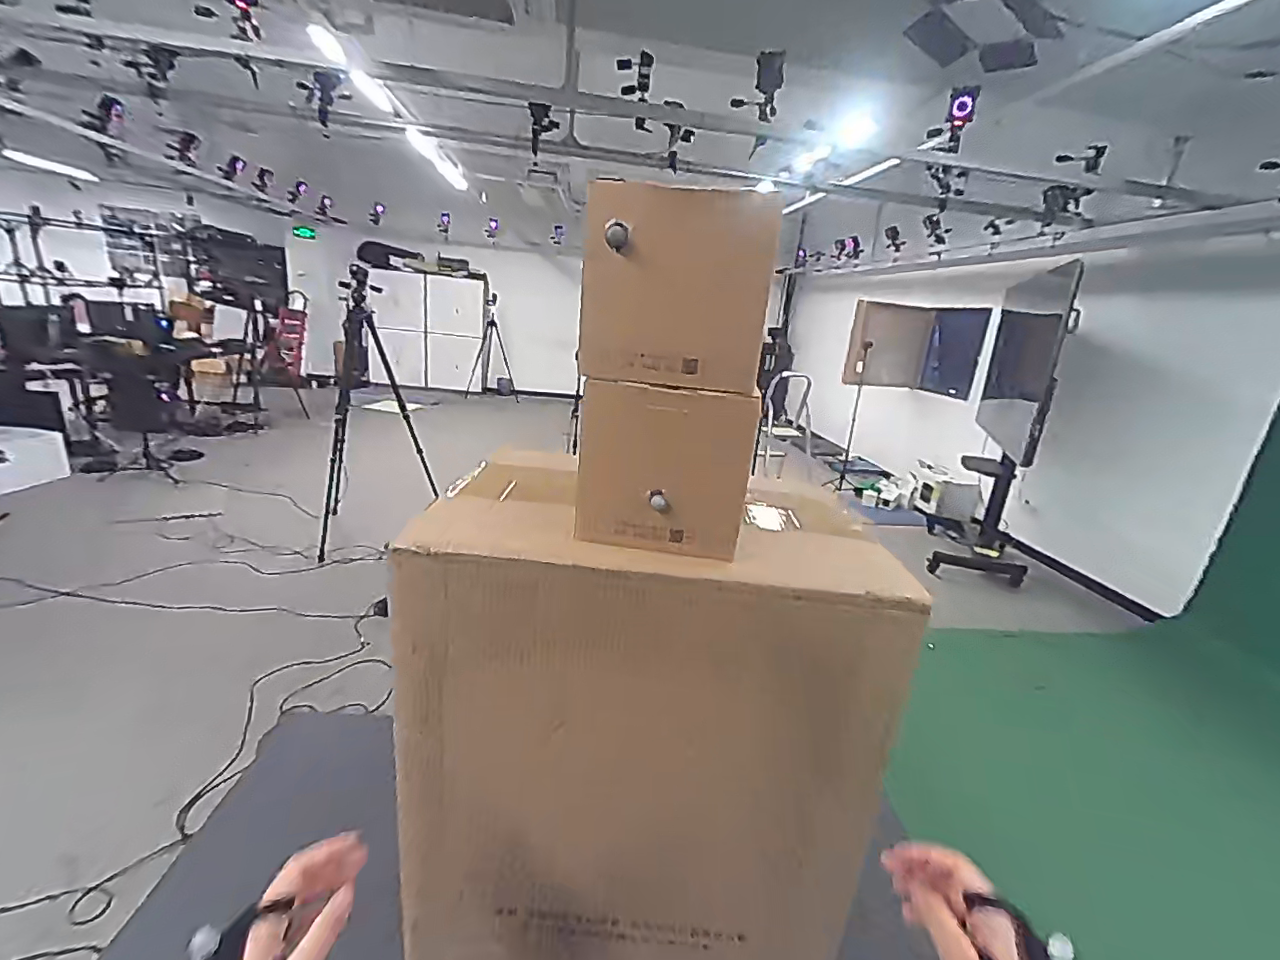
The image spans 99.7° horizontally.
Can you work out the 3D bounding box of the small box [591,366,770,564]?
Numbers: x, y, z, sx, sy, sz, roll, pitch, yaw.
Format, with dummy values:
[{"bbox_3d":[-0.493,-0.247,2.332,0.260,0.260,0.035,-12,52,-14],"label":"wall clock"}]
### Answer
[{"bbox_3d":[0.043,-0.026,0.612,0.168,0.176,0.179,8,19,5],"label":"small box"}]
